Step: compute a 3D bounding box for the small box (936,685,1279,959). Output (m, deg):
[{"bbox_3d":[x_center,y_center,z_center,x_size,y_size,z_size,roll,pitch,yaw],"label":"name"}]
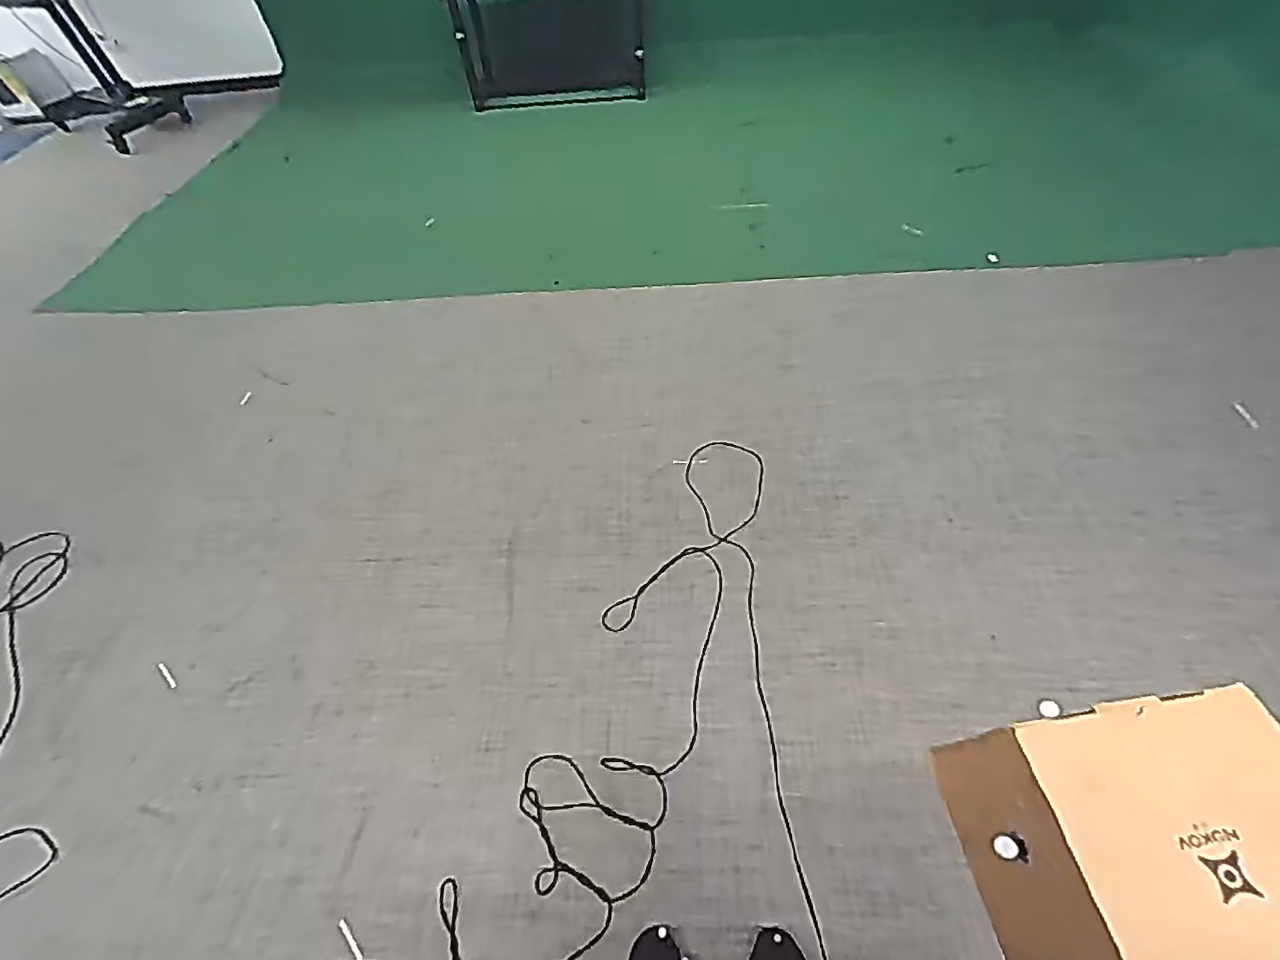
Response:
[{"bbox_3d":[0.354,0.270,0.395,0.168,0.176,0.179,-11,57,0],"label":"small box"}]
